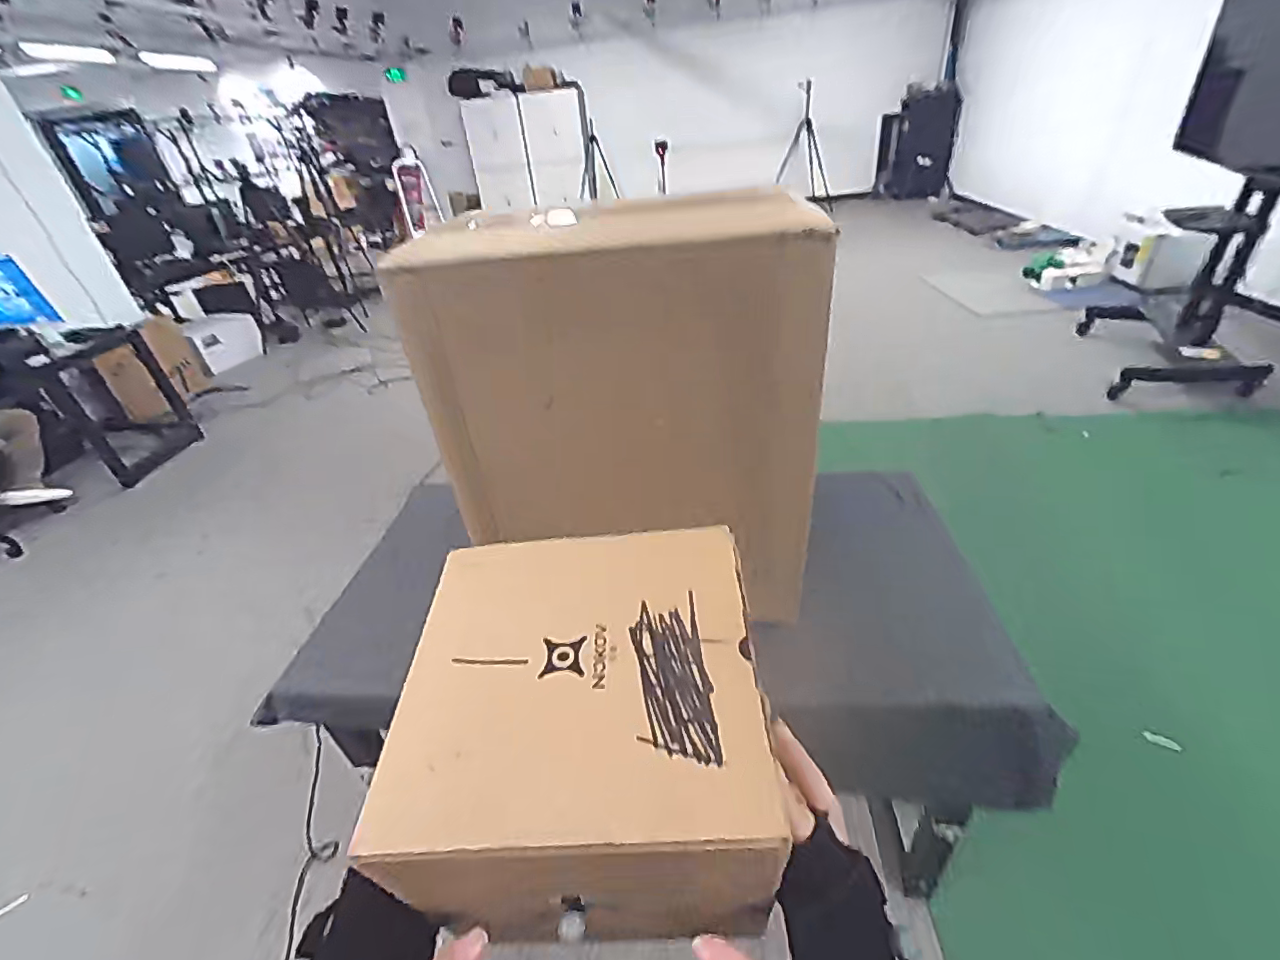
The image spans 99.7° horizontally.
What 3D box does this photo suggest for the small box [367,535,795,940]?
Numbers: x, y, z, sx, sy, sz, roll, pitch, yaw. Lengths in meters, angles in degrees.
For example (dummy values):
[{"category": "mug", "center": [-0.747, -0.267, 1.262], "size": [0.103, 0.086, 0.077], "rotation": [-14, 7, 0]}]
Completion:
[{"category": "small box", "center": [-0.024, 0.154, 0.328], "size": [0.179, 0.176, 0.168], "rotation": [-5, 41, -1]}]
